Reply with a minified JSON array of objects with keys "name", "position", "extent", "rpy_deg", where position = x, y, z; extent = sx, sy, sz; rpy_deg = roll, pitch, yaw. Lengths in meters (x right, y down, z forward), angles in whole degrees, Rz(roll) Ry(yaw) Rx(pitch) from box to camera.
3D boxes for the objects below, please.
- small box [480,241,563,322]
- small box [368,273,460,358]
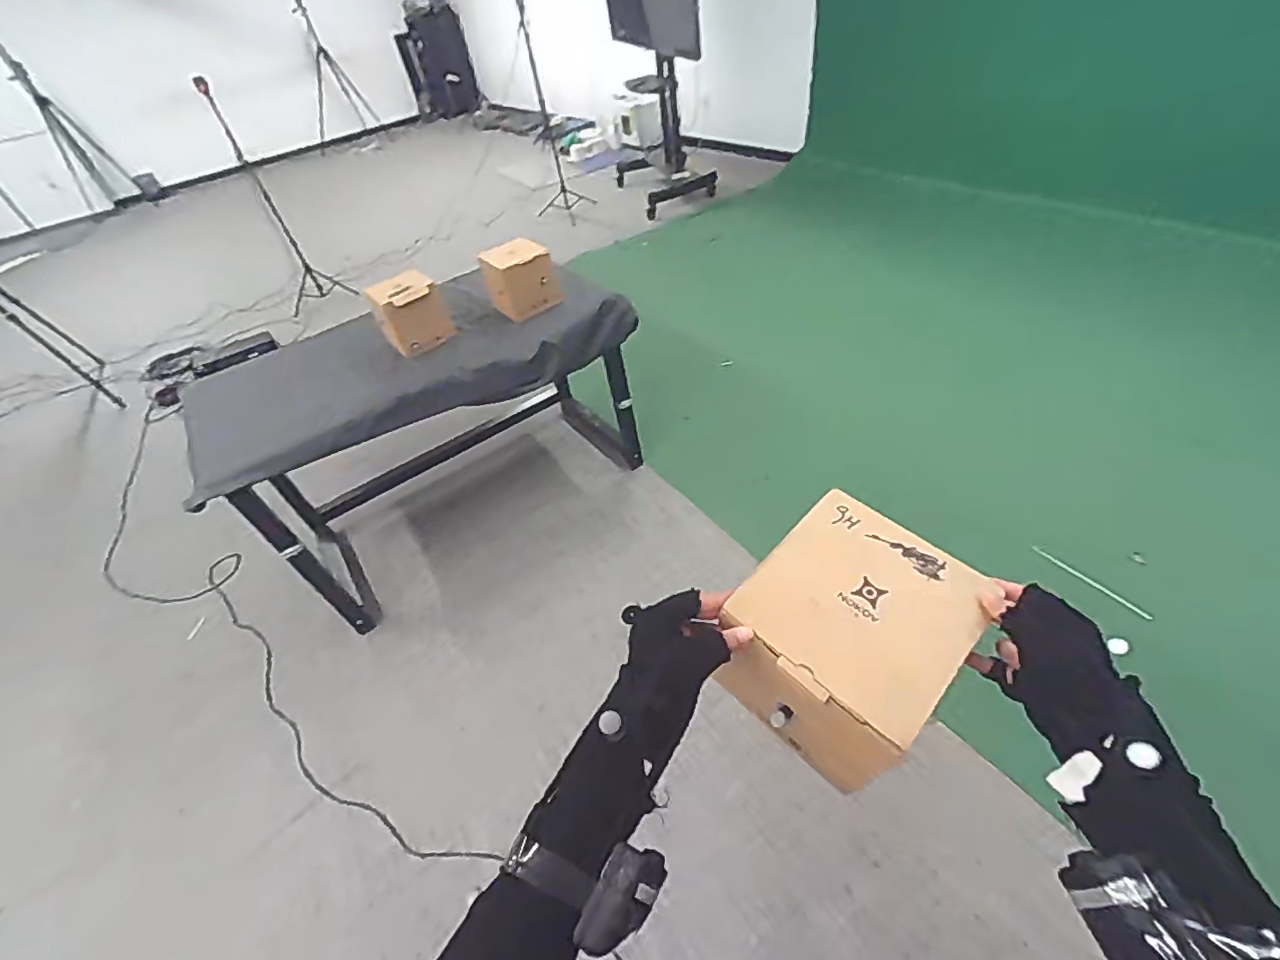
[{"name":"small box","position":[-0.358,-0.606,1.661],"extent":[0.168,0.176,0.179],"rpy_deg":[-33,46,-22]},{"name":"small box","position":[-0.663,-0.484,1.599],"extent":[0.168,0.176,0.179],"rpy_deg":[-34,47,-22]}]
